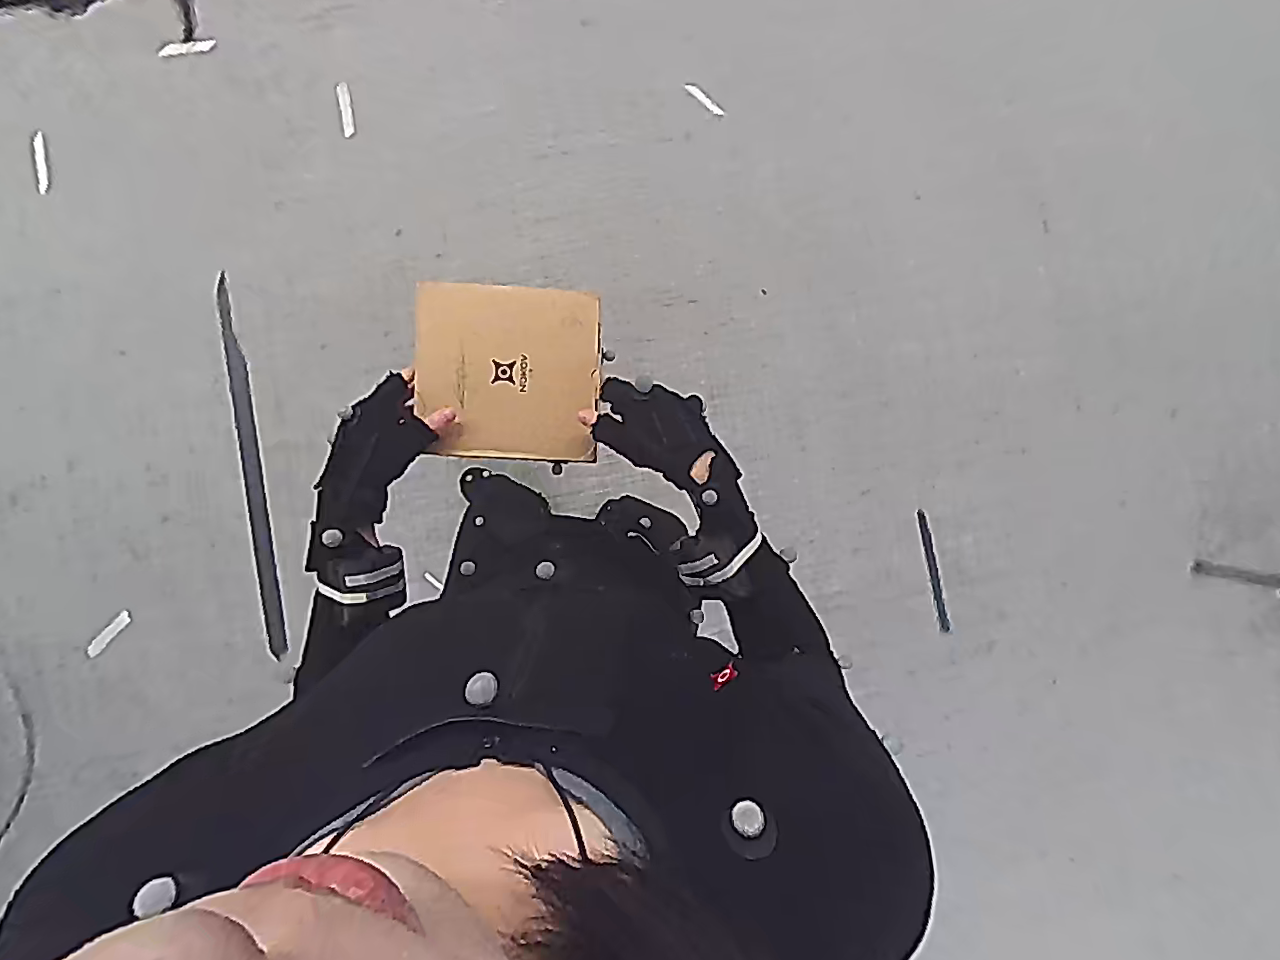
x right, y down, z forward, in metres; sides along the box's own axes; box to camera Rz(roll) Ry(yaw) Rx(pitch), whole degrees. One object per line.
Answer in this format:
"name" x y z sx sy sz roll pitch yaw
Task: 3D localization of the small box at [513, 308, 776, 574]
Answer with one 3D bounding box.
"small box" 0.003 -0.048 0.536 0.179 0.168 0.176 40 45 17
